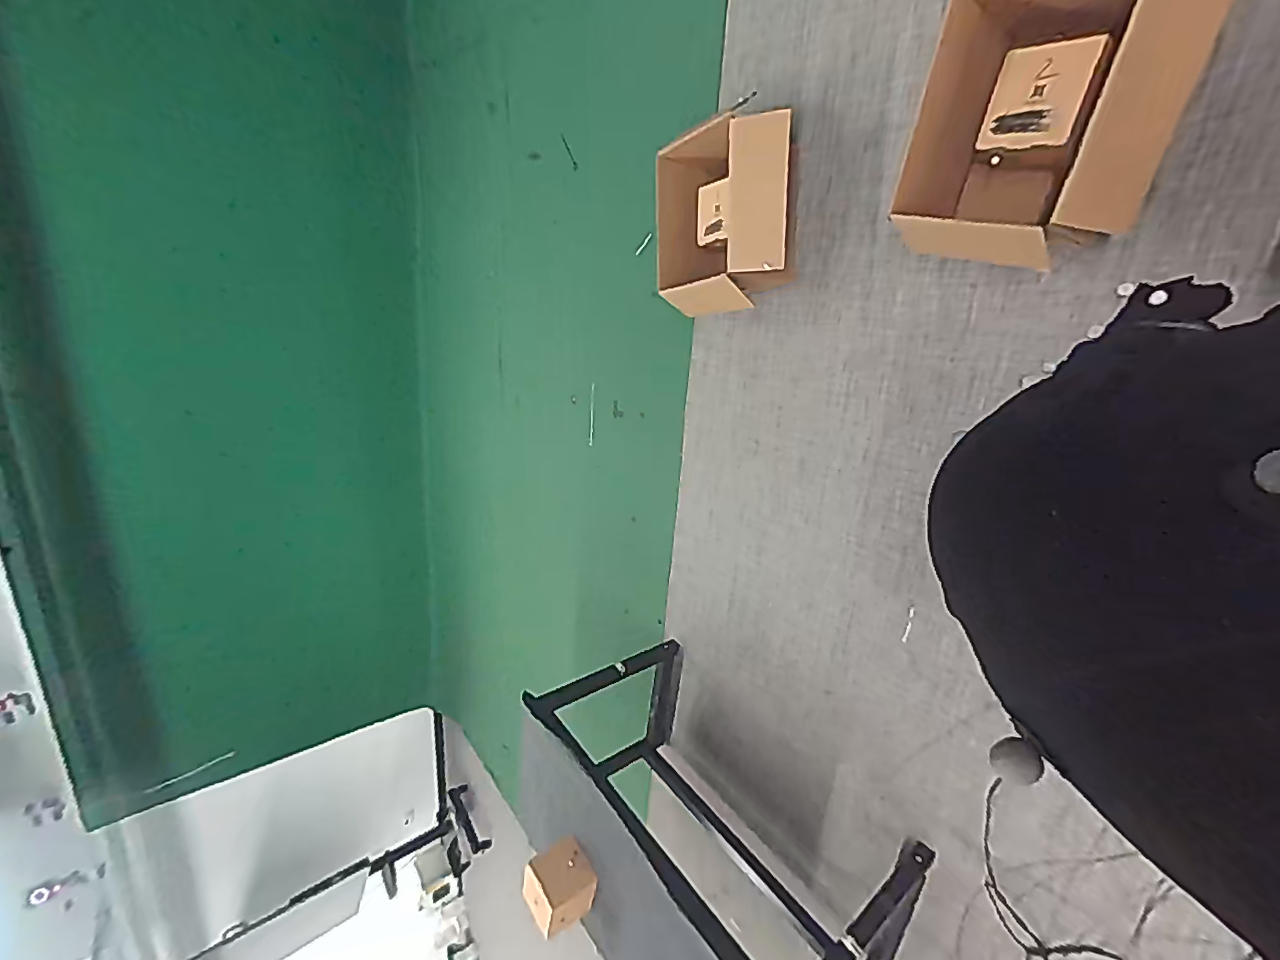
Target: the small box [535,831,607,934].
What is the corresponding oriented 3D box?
[{"bbox_3d":[-0.223,1.296,1.750,0.168,0.176,0.179,35,124,43],"label":"small box"}]
